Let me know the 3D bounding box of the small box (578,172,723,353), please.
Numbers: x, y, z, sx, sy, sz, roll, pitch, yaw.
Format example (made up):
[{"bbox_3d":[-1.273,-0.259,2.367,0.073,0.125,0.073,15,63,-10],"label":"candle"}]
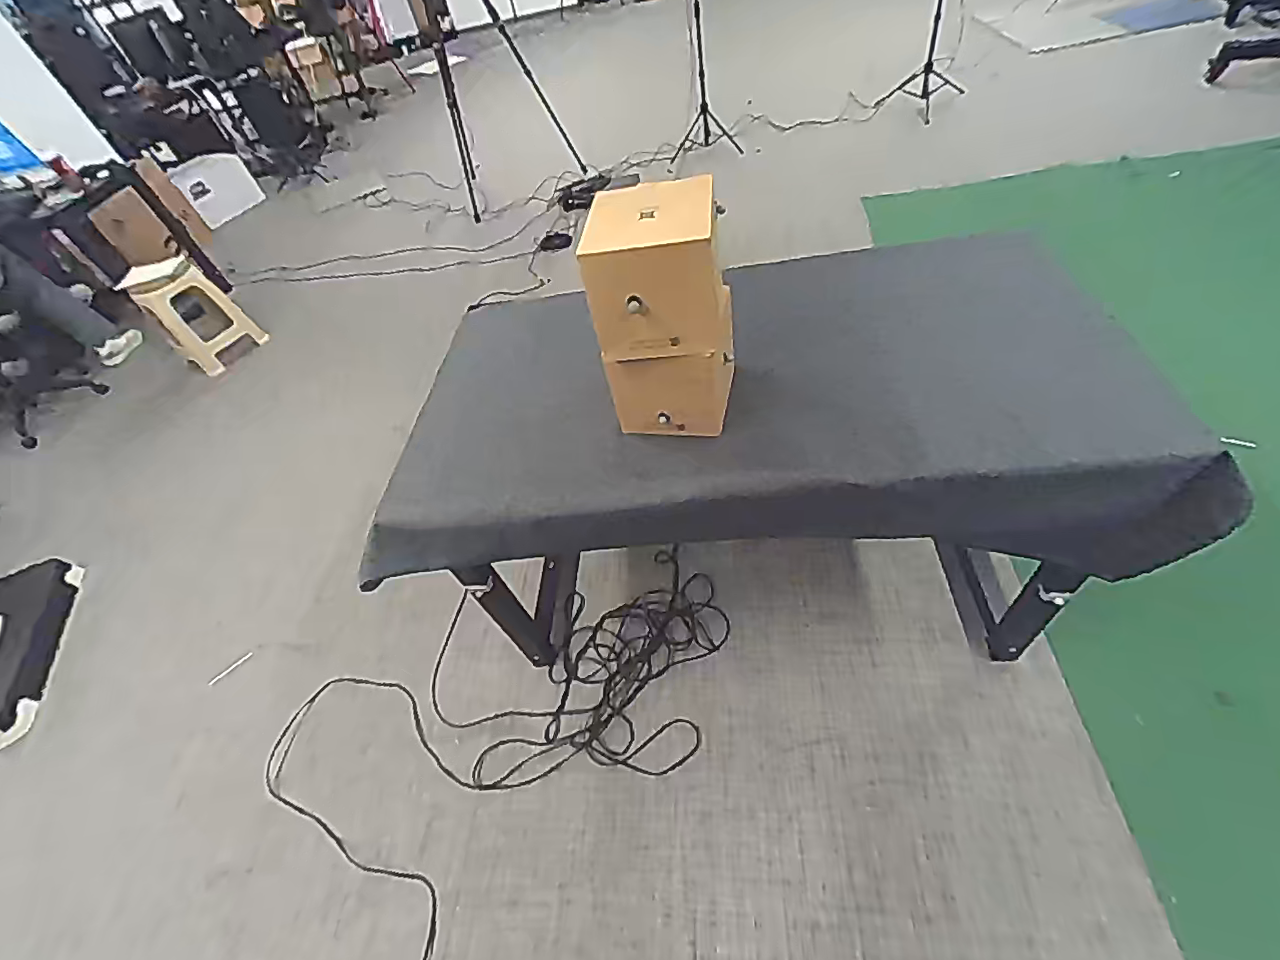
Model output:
[{"bbox_3d":[0.027,-0.290,0.746,0.168,0.176,0.179,-3,50,12],"label":"small box"}]
